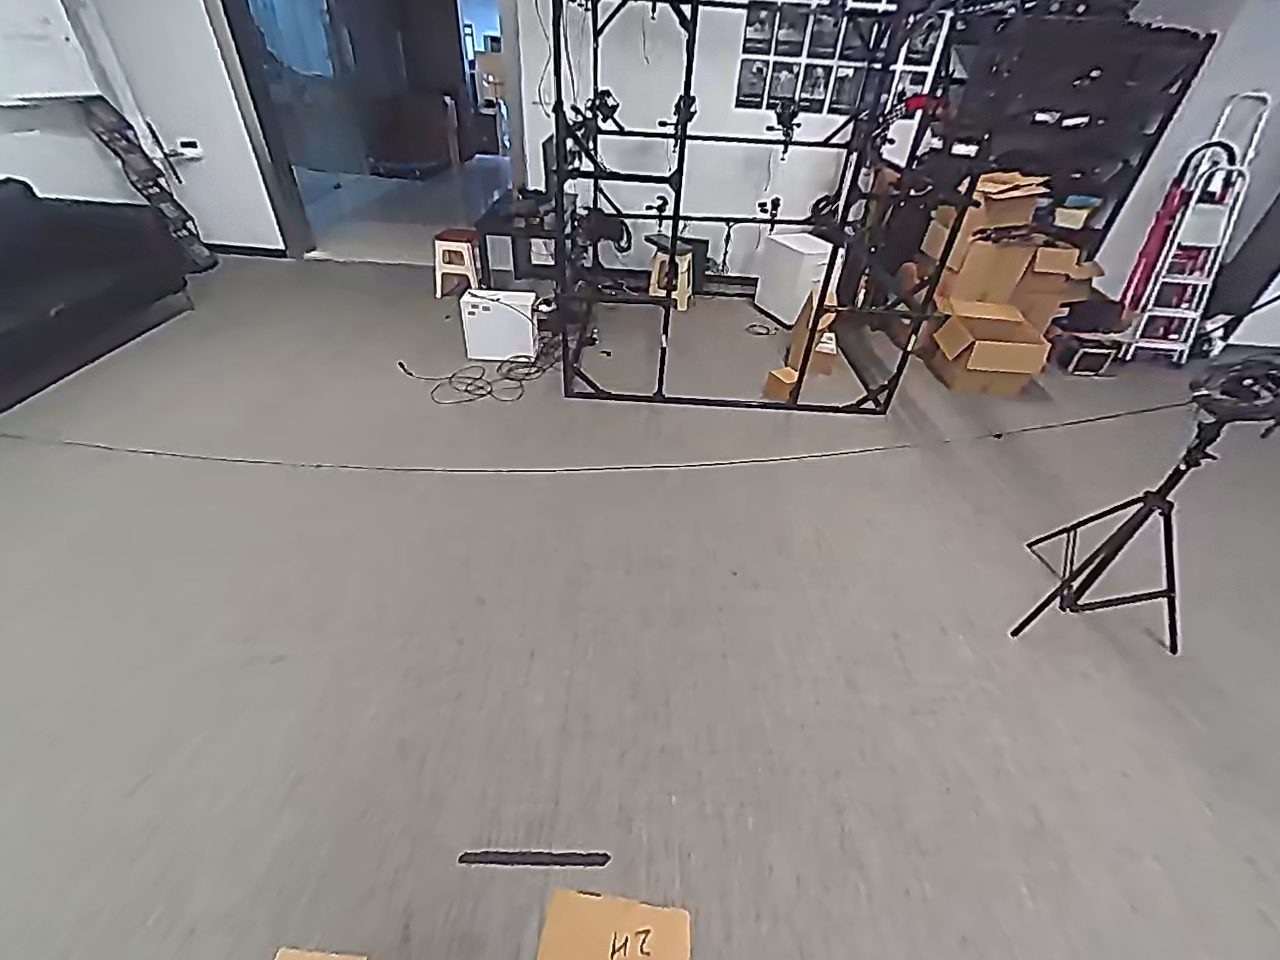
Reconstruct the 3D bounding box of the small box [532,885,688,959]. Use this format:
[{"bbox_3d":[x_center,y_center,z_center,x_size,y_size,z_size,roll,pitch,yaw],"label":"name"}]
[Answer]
[{"bbox_3d":[-0.046,0.592,0.600,0.168,0.176,0.179,11,38,0],"label":"small box"}]
